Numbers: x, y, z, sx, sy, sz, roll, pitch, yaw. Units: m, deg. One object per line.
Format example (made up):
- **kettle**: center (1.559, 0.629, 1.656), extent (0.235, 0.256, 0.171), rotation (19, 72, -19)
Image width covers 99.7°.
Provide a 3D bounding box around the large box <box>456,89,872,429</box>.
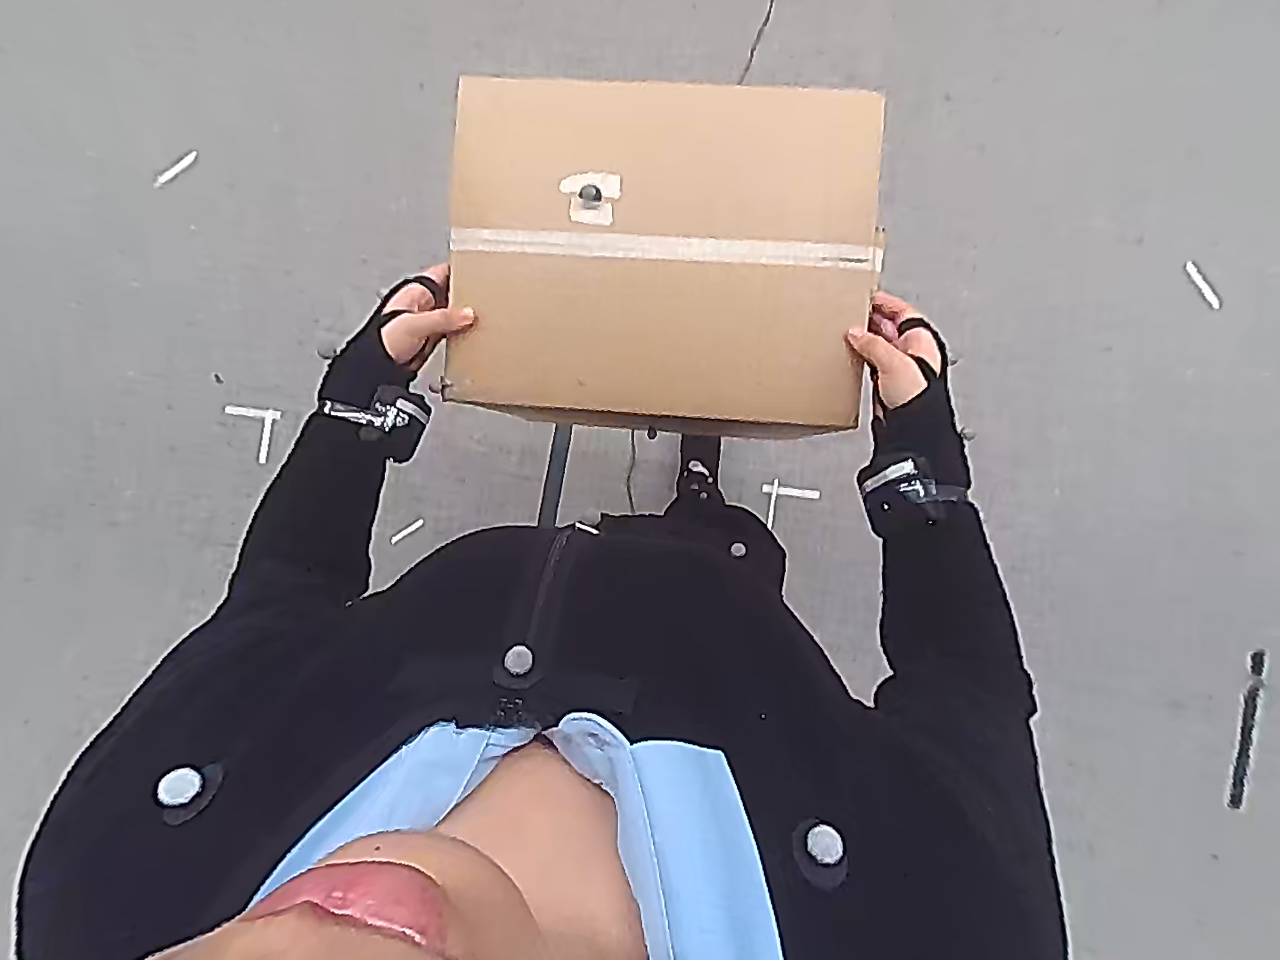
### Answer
- **large box**: center (0.030, -0.231, 0.678), extent (0.408, 0.320, 0.320), rotation (4, 91, 4)
